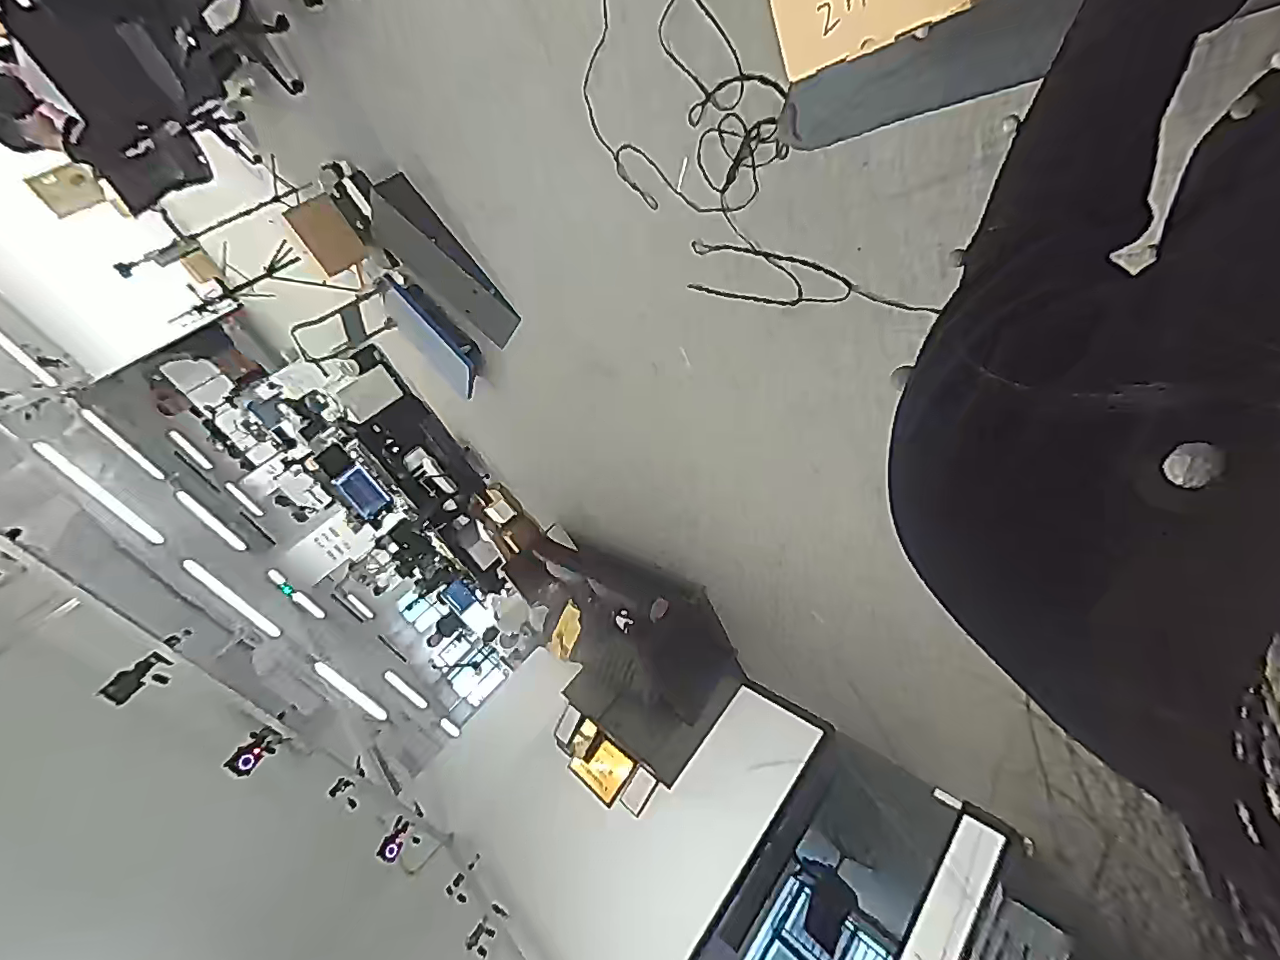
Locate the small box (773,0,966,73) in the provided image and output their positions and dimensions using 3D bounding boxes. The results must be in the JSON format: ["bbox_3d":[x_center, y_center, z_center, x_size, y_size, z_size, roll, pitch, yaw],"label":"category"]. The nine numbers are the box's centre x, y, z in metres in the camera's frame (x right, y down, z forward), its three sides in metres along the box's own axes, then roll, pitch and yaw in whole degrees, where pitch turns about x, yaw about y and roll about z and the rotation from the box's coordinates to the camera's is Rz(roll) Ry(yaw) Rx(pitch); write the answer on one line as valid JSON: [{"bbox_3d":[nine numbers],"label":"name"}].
[{"bbox_3d":[0.218,-0.495,0.455,0.168,0.176,0.179,15,142,48],"label":"small box"}]
